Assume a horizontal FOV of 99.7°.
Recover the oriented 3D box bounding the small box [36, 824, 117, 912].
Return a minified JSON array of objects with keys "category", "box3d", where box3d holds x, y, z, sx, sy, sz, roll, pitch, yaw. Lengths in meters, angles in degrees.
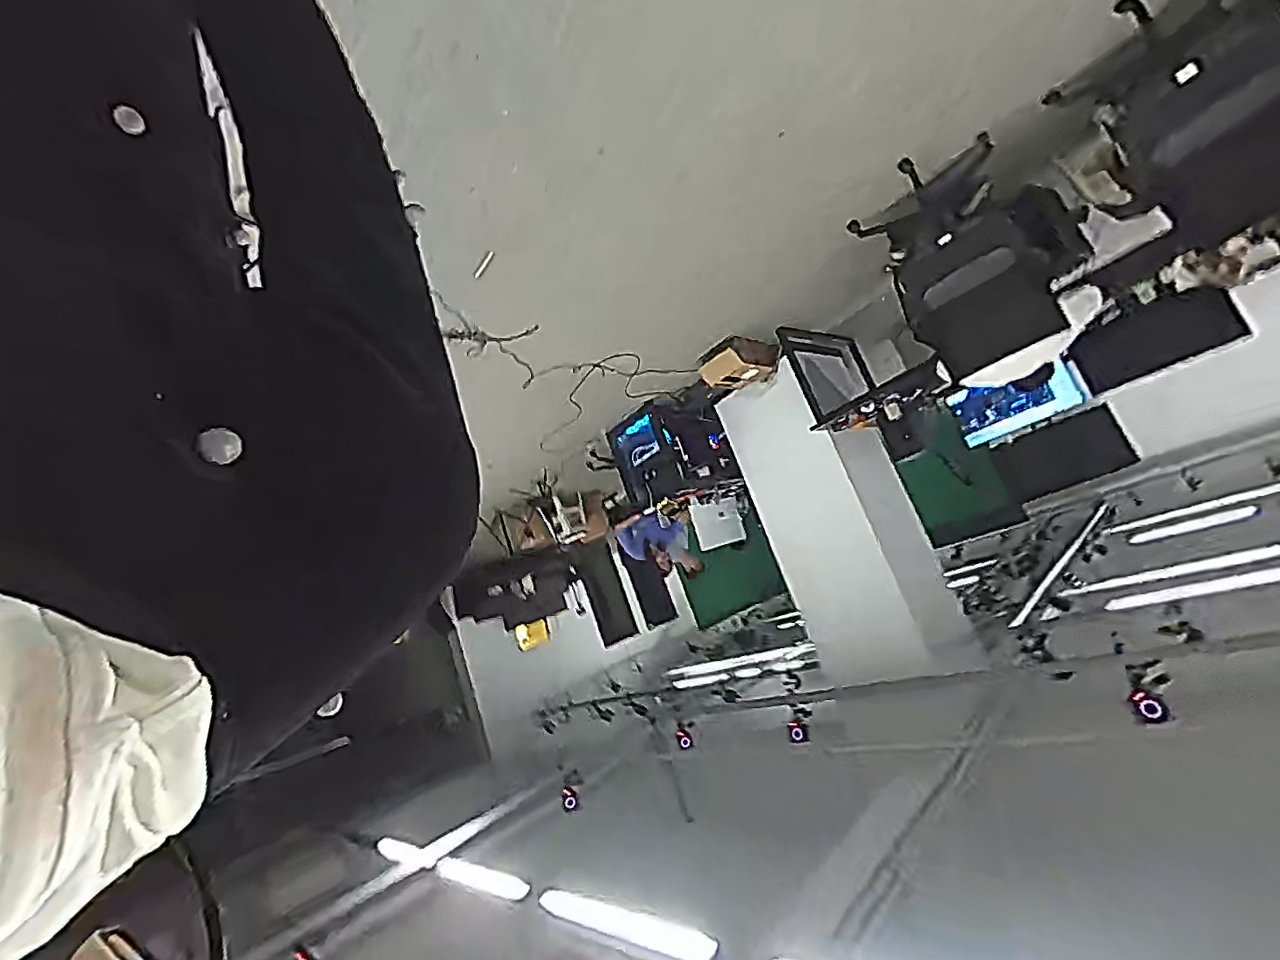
[{"category":"small box","box3d":[-1.807,1.235,1.739,0.168,0.176,0.179,-10,165,-45]}]
